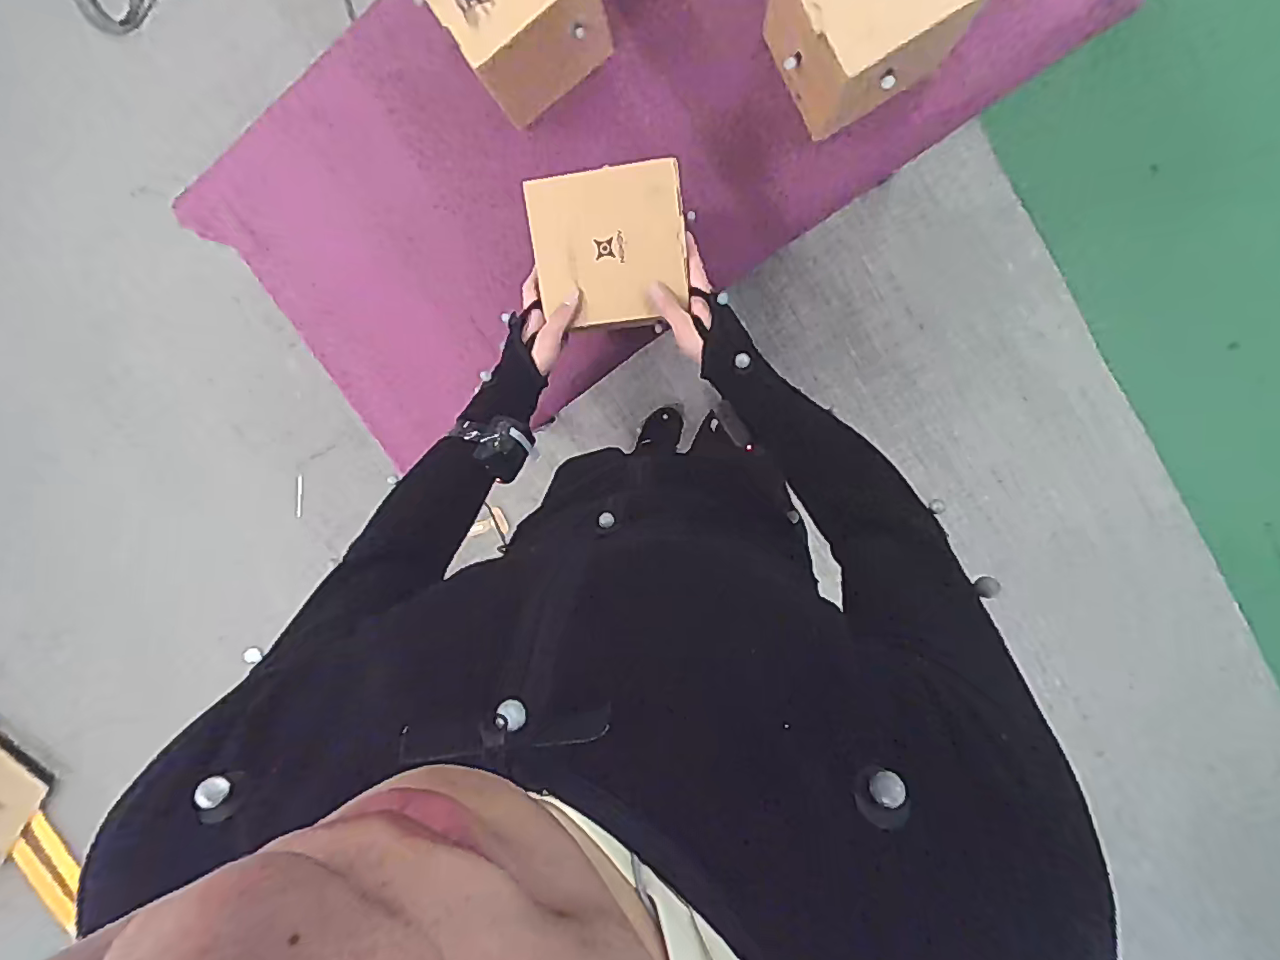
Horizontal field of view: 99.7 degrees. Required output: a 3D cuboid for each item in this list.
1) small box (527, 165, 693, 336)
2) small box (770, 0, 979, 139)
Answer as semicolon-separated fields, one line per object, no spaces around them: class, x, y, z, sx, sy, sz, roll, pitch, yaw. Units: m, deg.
small box;-0.026;-0.275;0.685;0.179;0.176;0.168;-4;103;7
small box;0.269;-0.563;0.656;0.179;0.176;0.168;-28;96;11
